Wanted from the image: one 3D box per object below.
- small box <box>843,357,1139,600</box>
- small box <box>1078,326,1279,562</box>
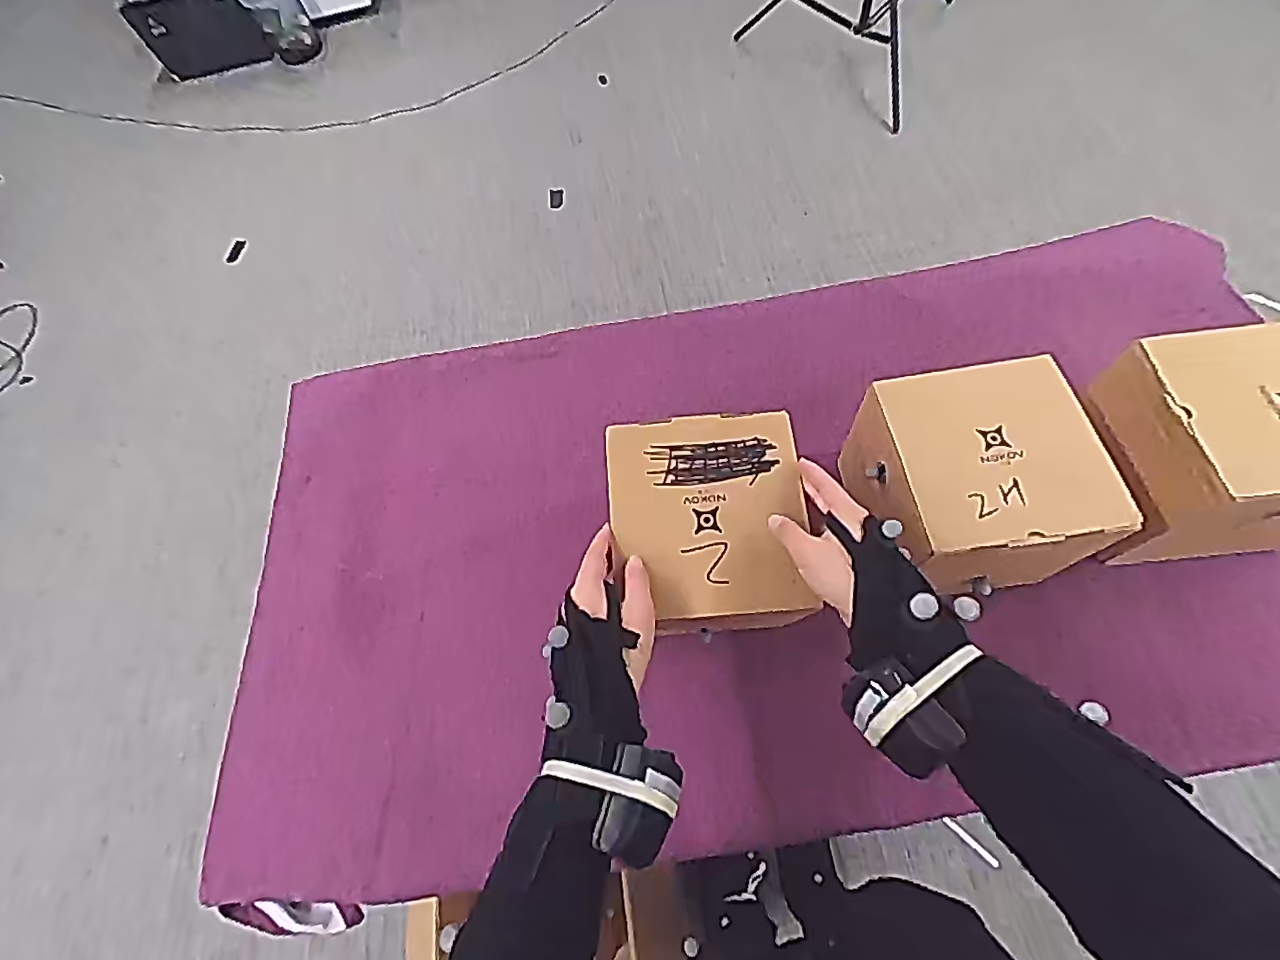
[{"bbox_3d":[0.318,0.007,0.542,0.168,0.176,0.179,-9,63,5],"label":"small box"},{"bbox_3d":[0.556,-0.027,0.528,0.179,0.176,0.168,-6,62,5],"label":"small box"}]
